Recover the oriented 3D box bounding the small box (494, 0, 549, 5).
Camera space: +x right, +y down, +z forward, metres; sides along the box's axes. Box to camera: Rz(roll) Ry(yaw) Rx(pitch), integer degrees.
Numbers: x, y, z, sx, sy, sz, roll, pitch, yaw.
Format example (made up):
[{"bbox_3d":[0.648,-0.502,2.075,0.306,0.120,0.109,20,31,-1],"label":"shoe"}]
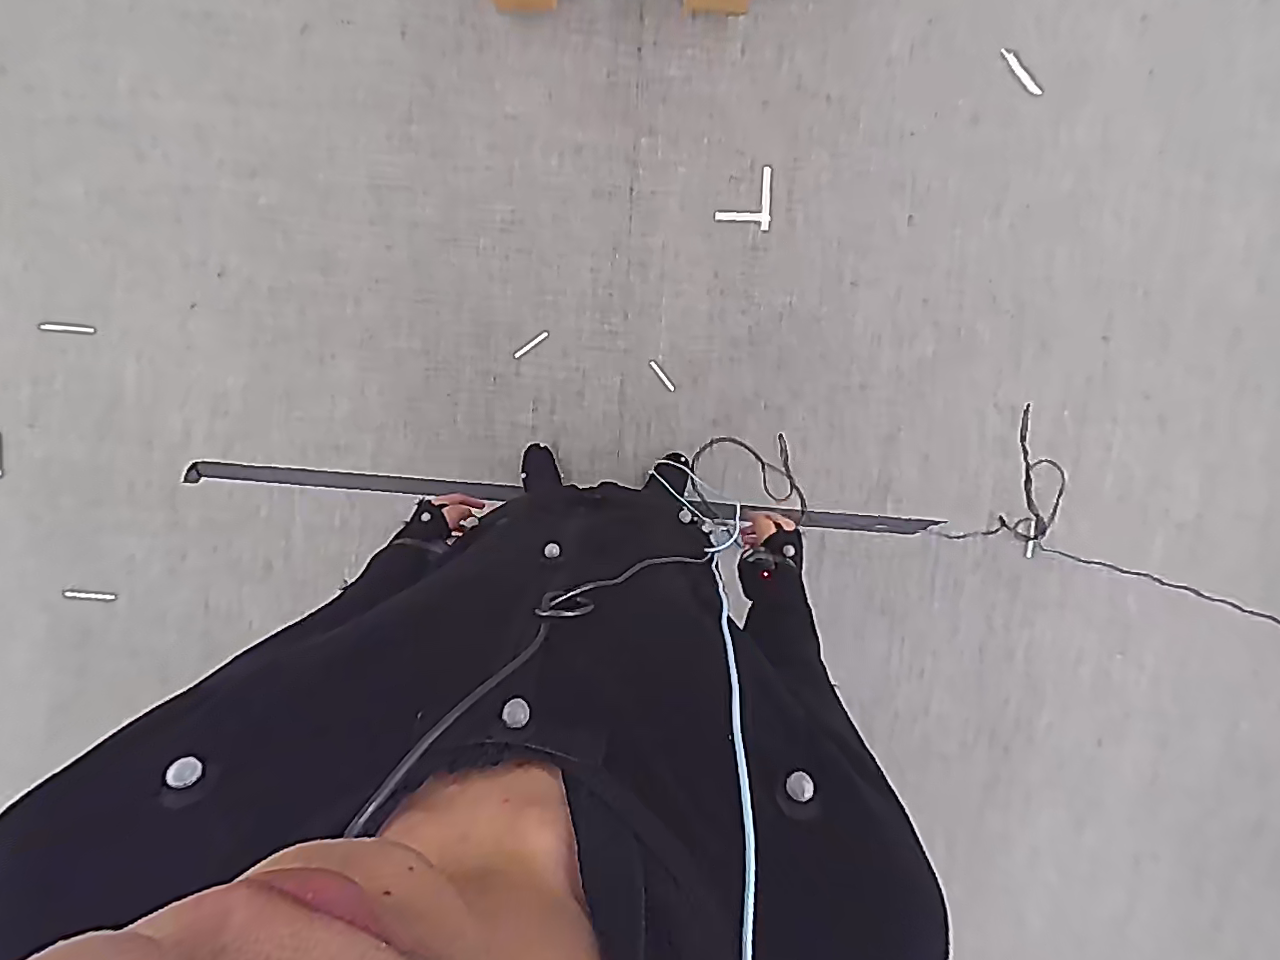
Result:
[{"bbox_3d":[-0.320,-1.395,1.417,0.179,0.176,0.168,2,96,1],"label":"small box"}]
